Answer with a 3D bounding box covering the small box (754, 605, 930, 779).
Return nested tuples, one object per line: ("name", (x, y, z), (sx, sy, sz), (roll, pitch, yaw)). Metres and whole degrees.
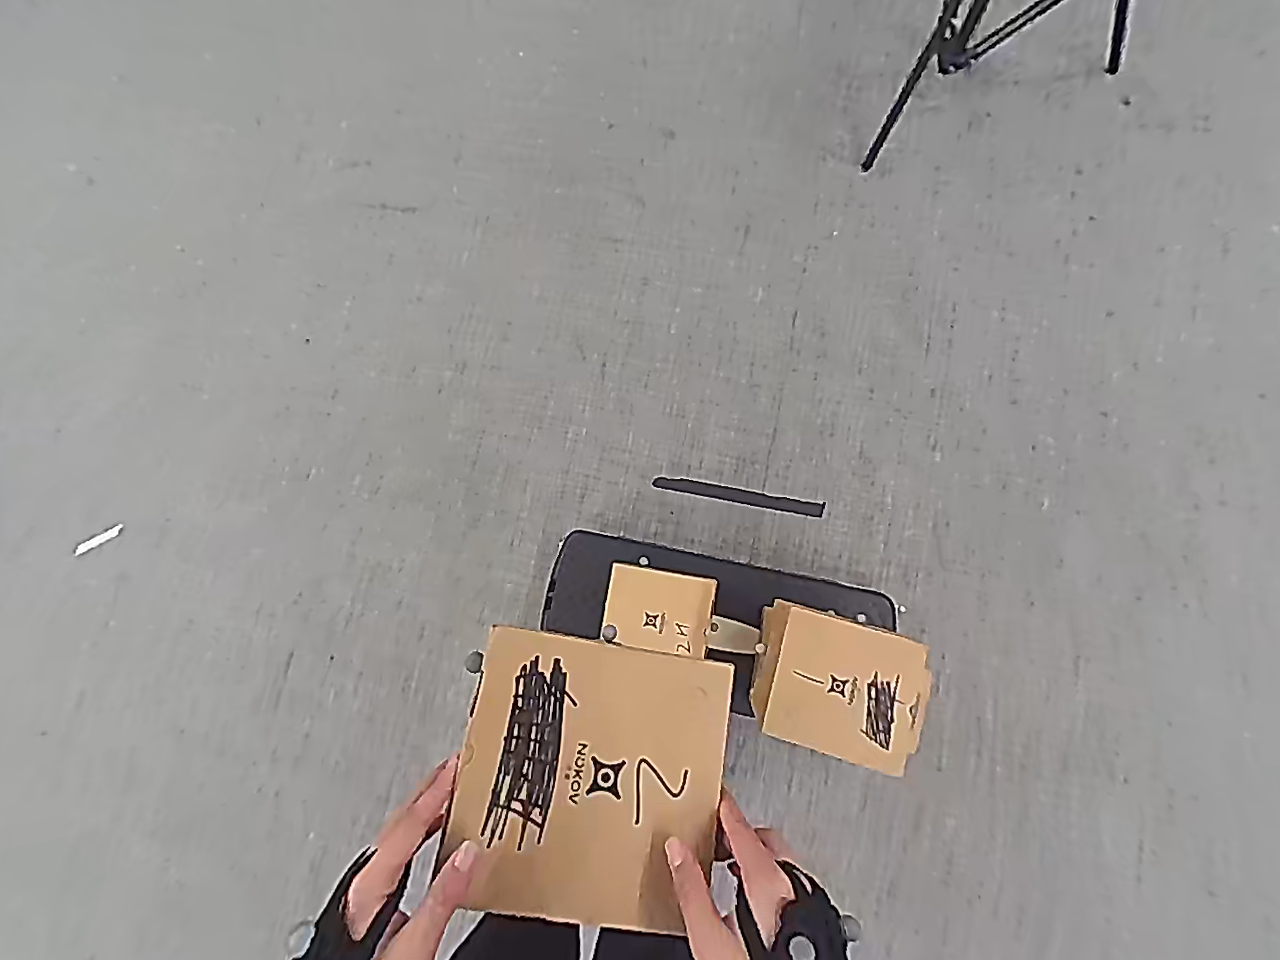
("small box", (0.268, 0.278, 0.755), (0.179, 0.176, 0.168), (15, 82, 10))
